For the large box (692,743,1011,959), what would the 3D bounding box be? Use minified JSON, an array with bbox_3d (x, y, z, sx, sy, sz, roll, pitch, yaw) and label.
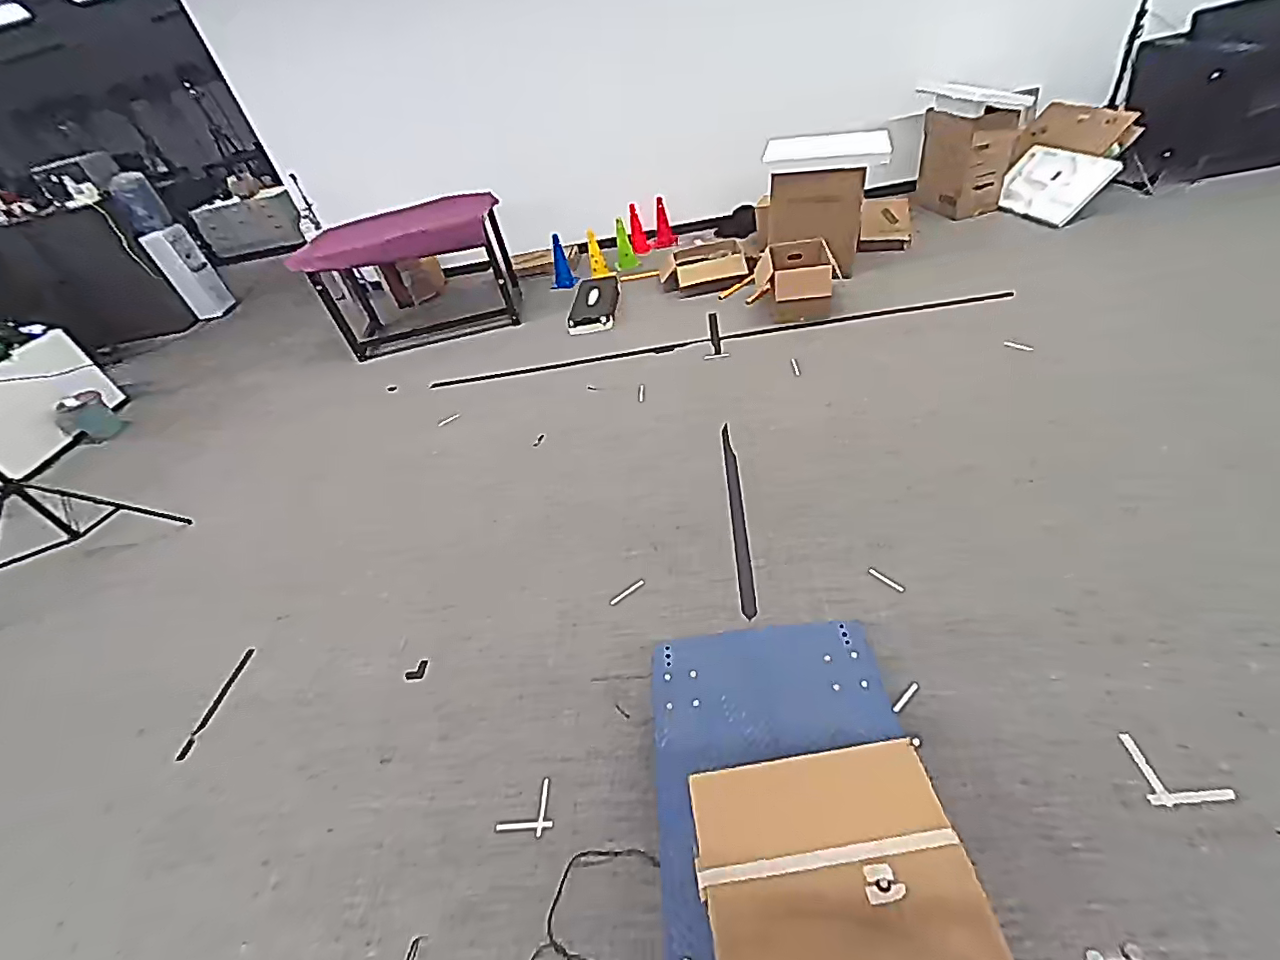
[{"bbox_3d":[0.326,0.719,0.955,0.408,0.320,0.320,-11,41,2],"label":"large box"}]
